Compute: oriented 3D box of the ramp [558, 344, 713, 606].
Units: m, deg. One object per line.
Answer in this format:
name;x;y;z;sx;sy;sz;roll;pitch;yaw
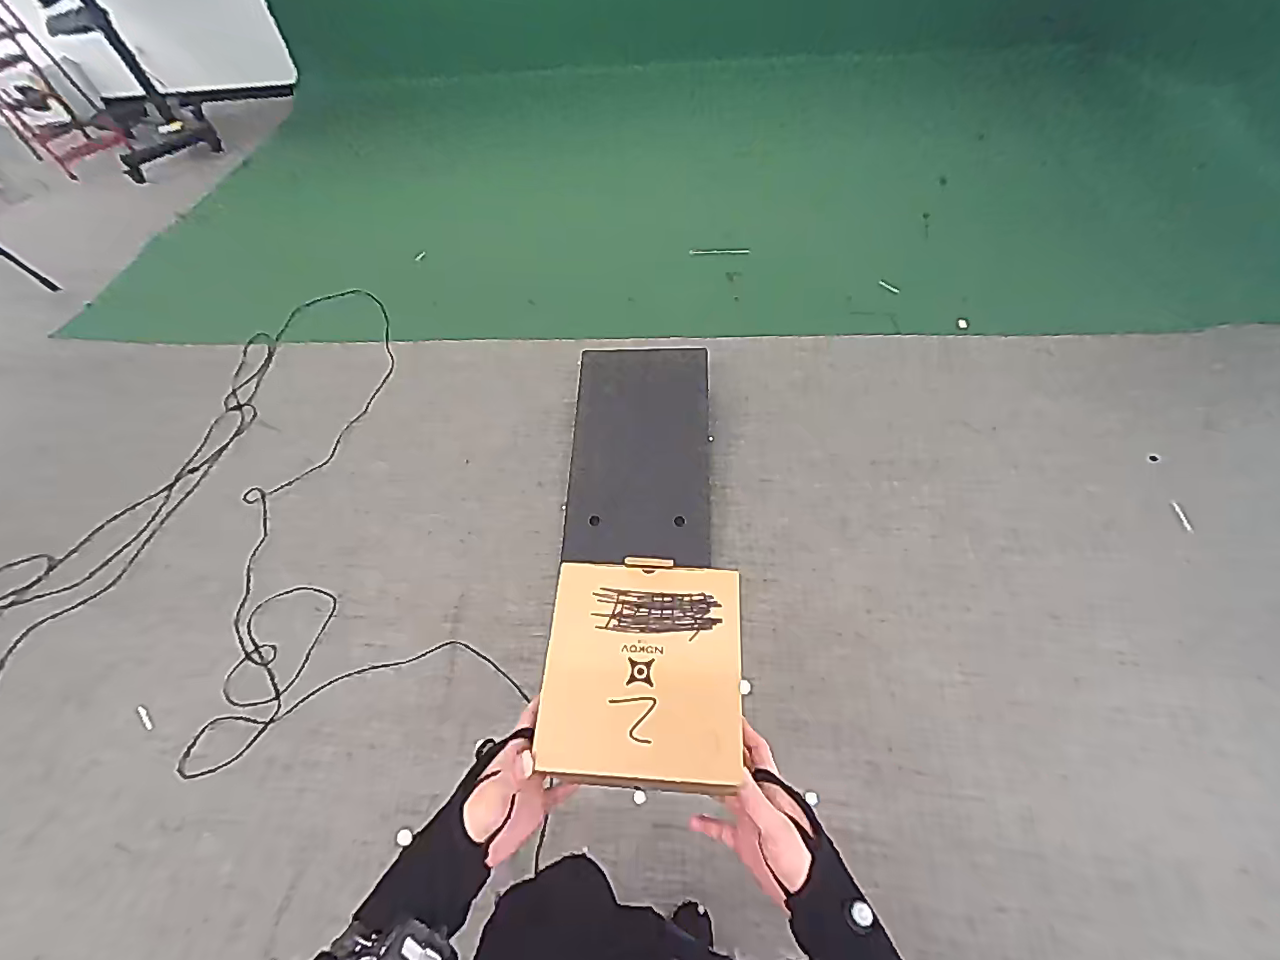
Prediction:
ramp;0.003;-0.065;1.882;0.509;0.206;0.991;-1;55;4
